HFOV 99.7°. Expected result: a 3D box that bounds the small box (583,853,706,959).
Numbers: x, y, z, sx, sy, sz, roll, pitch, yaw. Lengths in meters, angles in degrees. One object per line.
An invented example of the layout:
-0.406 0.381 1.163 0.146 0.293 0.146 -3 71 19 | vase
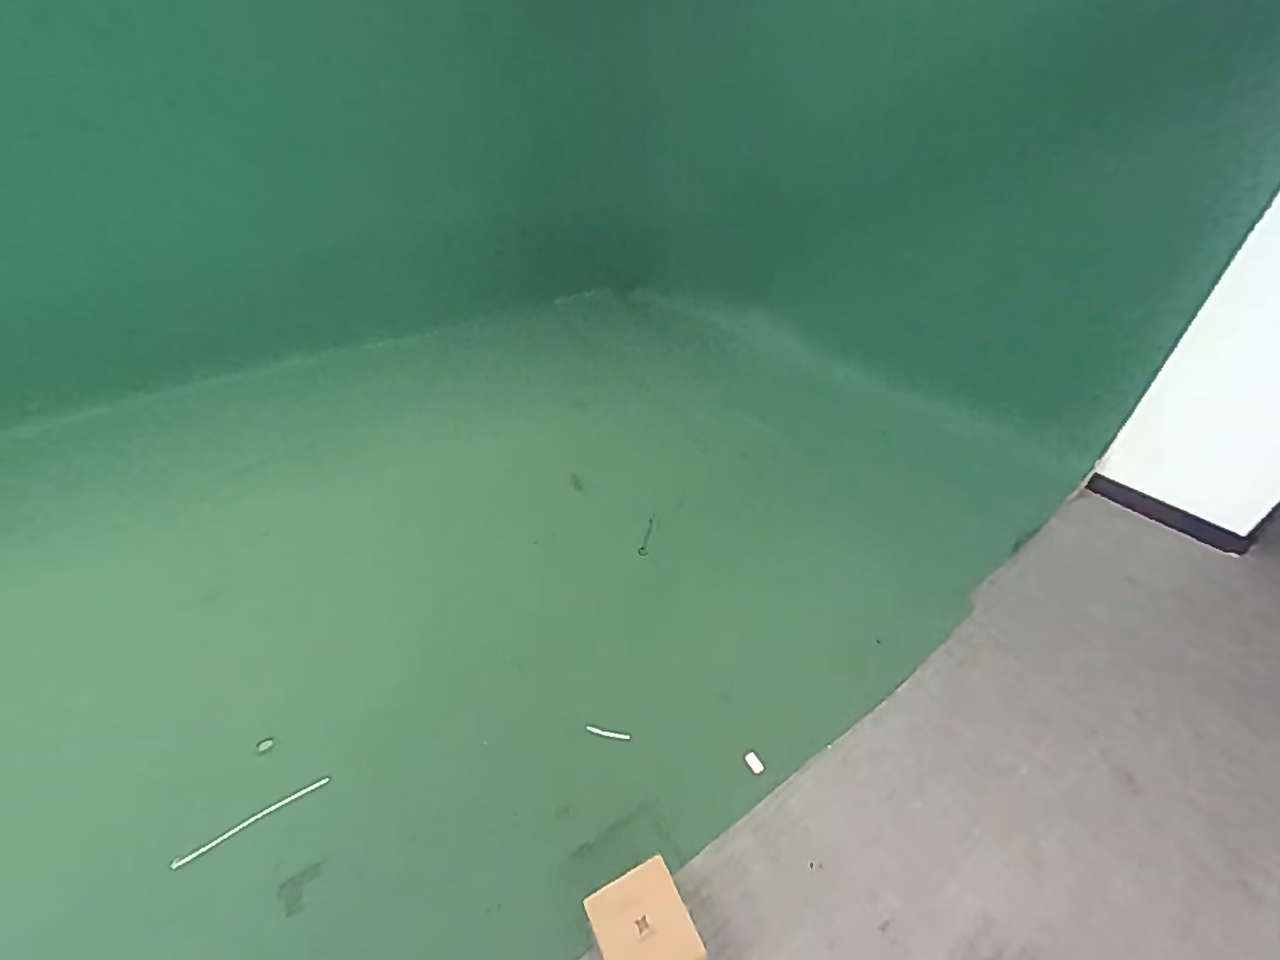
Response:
0.005 0.856 1.014 0.168 0.176 0.179 -17 42 -22 | small box
